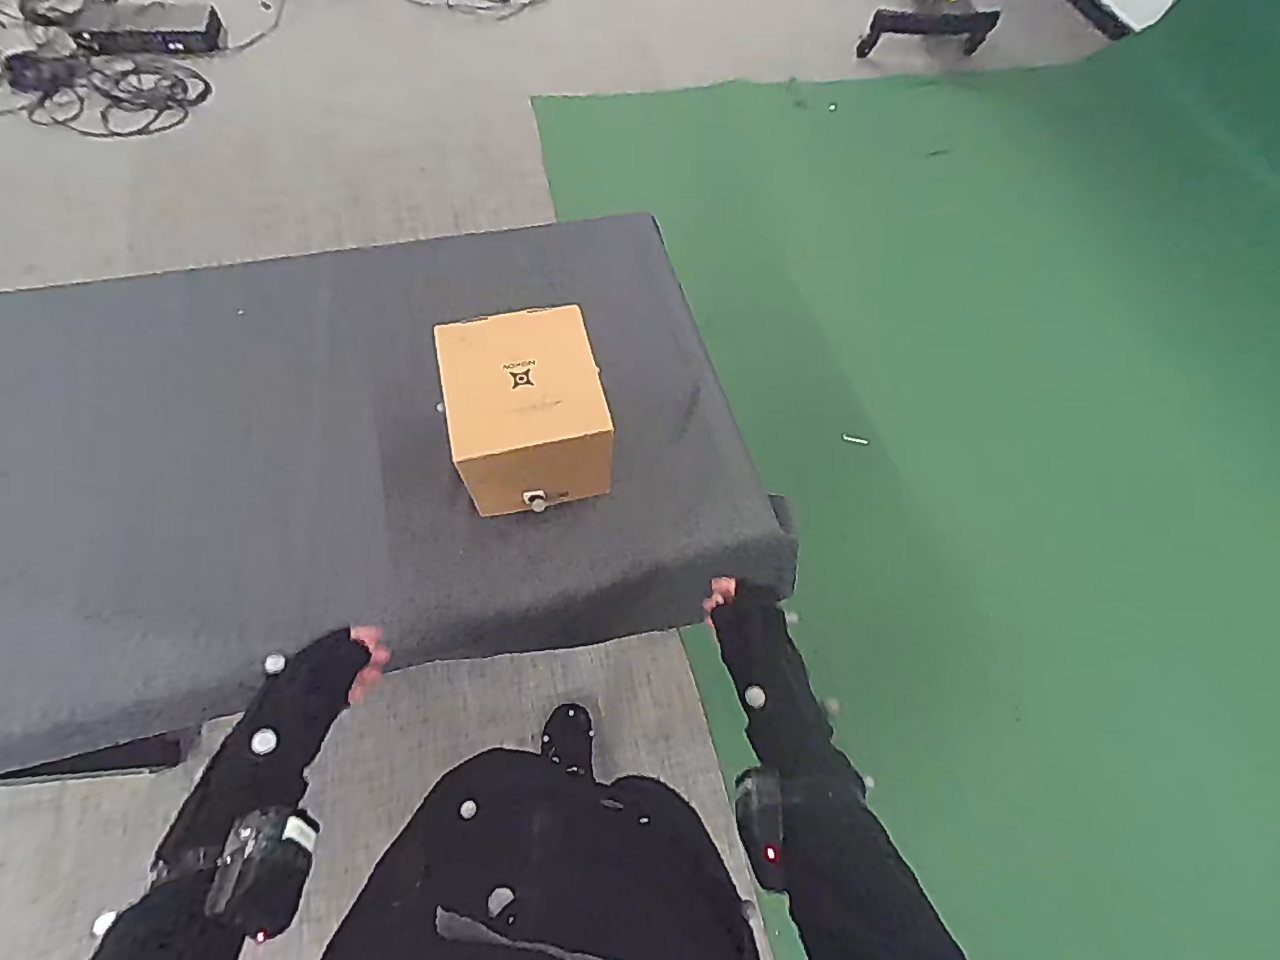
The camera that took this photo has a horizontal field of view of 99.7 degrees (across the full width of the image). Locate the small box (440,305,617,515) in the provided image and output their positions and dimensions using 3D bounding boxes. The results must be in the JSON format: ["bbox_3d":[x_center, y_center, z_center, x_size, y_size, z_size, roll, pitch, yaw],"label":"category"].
[{"bbox_3d":[-0.131,-0.079,0.658,0.168,0.176,0.179,-13,68,-9],"label":"small box"}]
